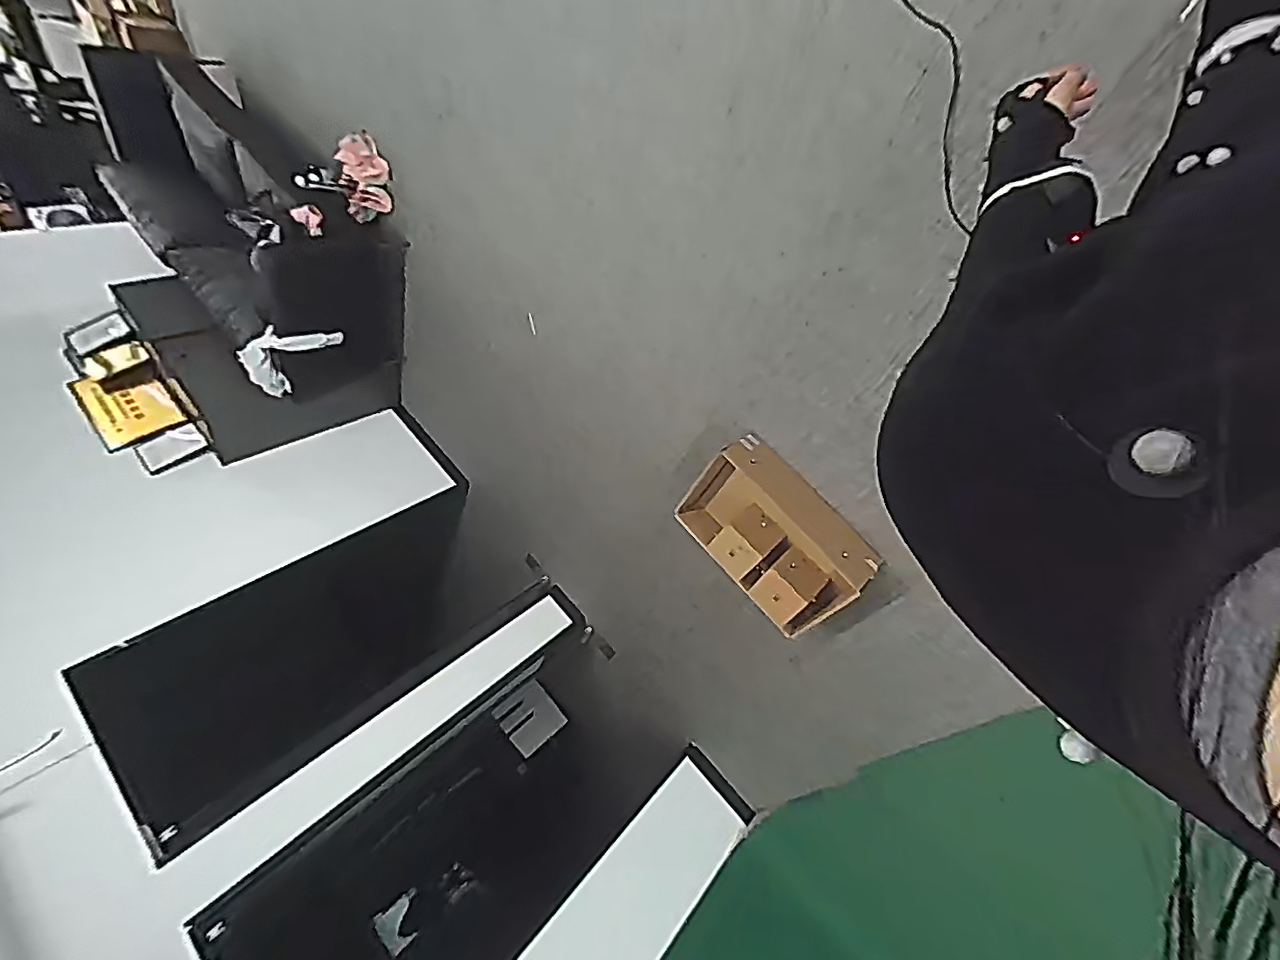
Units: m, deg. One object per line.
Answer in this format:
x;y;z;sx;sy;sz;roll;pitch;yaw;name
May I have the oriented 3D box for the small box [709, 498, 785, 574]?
0.385;0.196;1.924;0.168;0.176;0.179;46;139;13;small box
